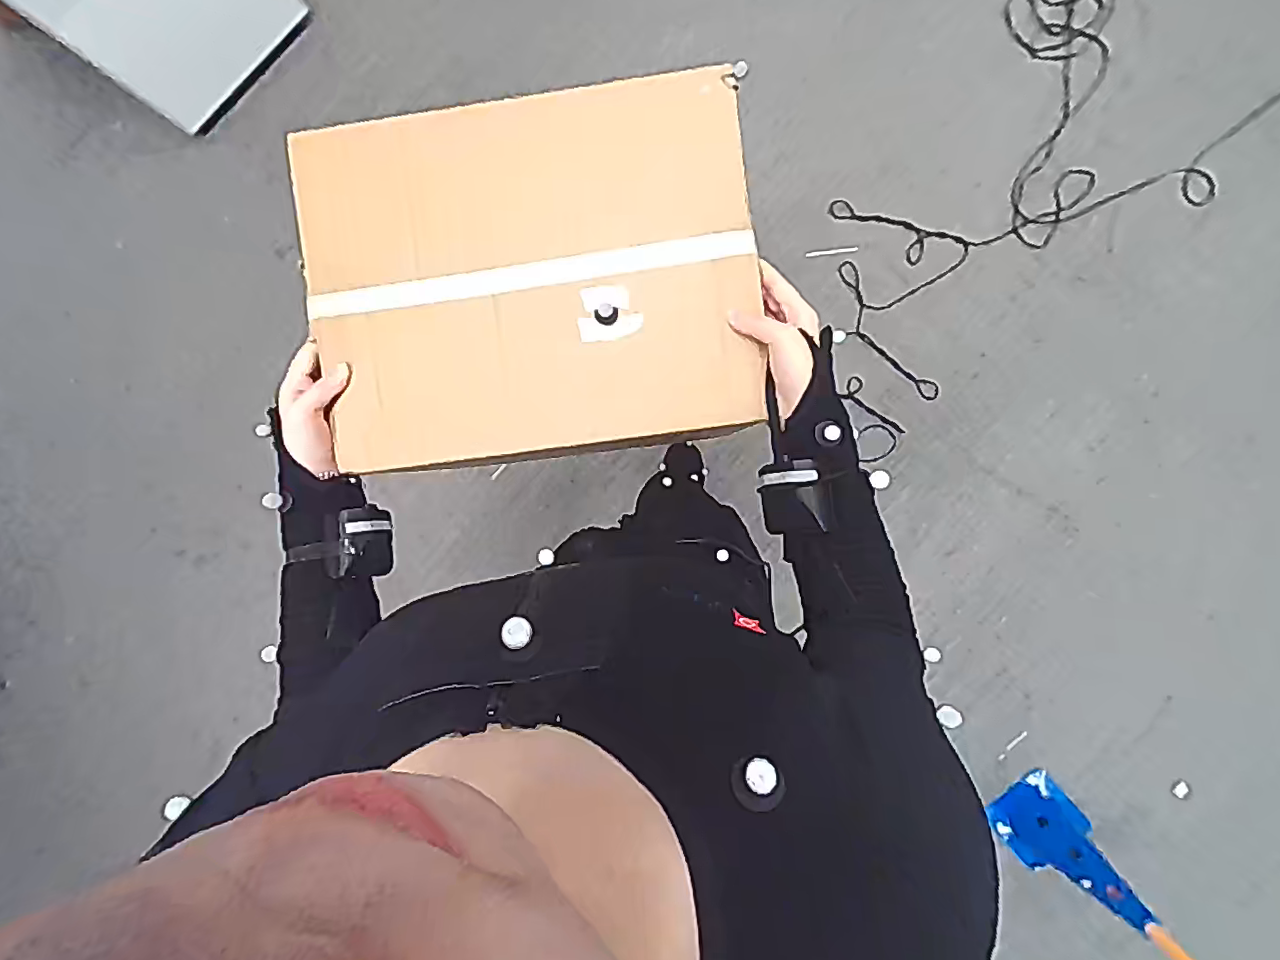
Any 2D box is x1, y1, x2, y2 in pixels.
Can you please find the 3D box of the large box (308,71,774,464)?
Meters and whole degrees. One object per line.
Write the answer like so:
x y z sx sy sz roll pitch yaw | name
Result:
-0.090 -0.197 0.644 0.408 0.320 0.320 -7 93 1 | large box

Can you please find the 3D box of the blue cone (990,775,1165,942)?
1.013 0.877 1.236 0.193 0.380 0.192 -40 86 3 | blue cone
